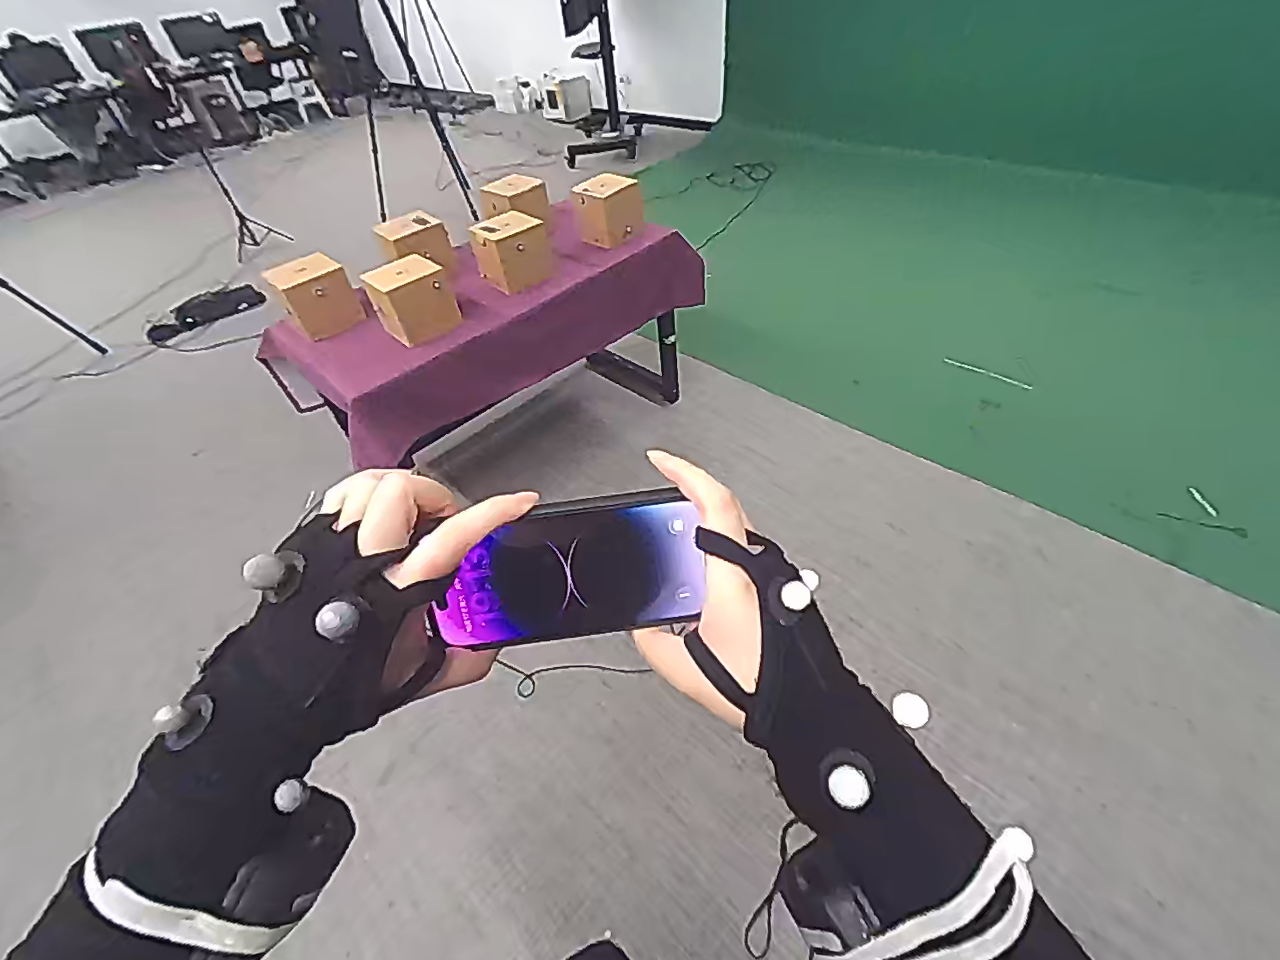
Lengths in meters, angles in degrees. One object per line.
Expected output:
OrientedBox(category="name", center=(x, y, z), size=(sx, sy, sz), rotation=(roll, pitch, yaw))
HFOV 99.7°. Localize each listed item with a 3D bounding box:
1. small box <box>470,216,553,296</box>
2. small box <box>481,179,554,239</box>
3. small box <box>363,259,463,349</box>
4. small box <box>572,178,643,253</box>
OrientedBox(category="small box", center=(-0.392, -0.693, 1.679), size=(0.179, 0.176, 0.168), rotation=(-35, 51, -25))
OrientedBox(category="small box", center=(-0.434, -0.951, 1.935), size=(0.179, 0.176, 0.168), rotation=(31, 57, 31))
OrientedBox(category="small box", center=(-0.629, -0.490, 1.513), size=(0.179, 0.176, 0.168), rotation=(-36, 52, -27))
OrientedBox(category="small box", center=(-0.104, -0.901, 1.842), size=(0.168, 0.176, 0.179), rotation=(31, 57, 33))
